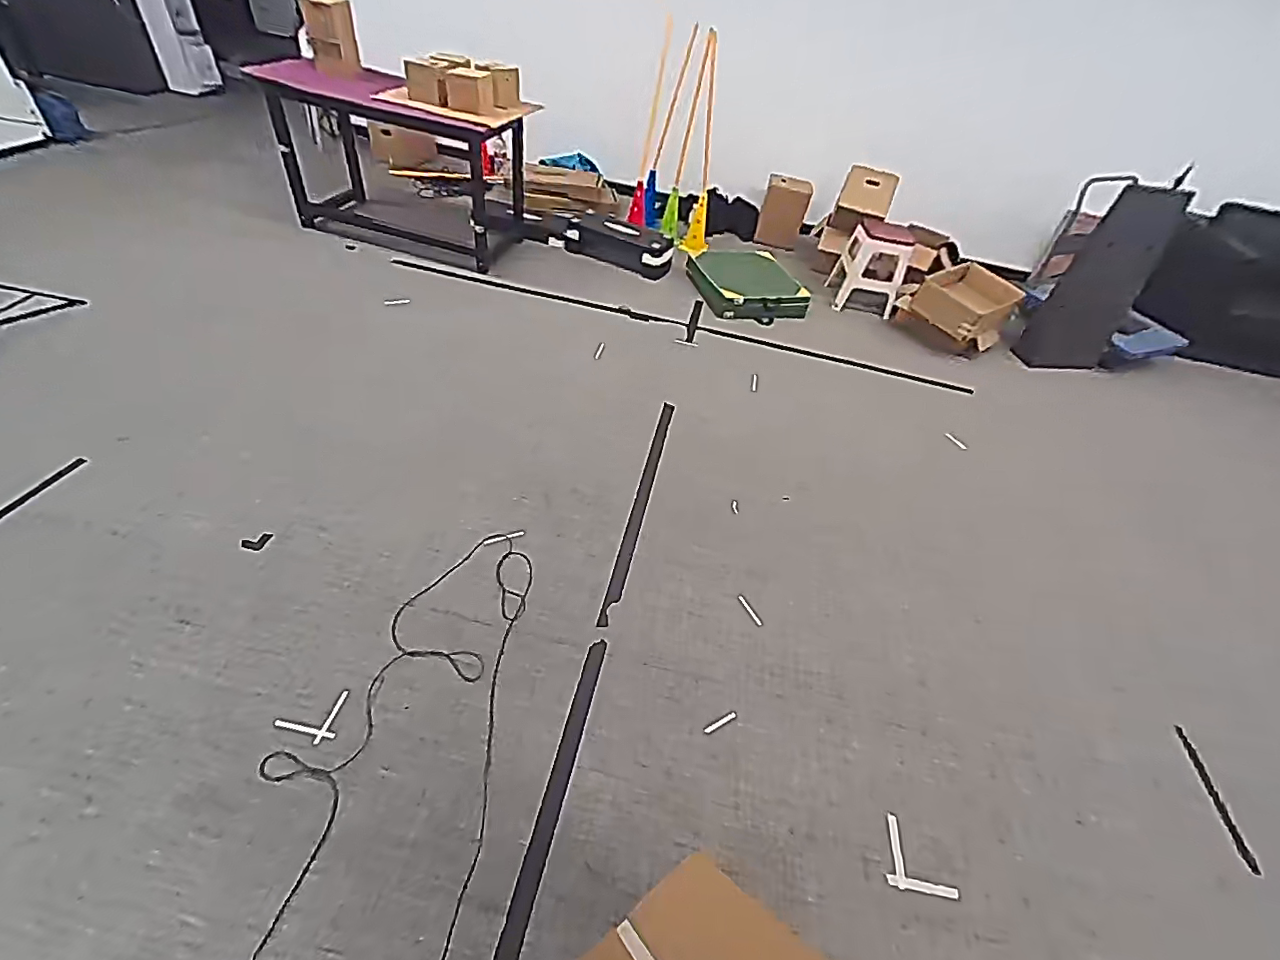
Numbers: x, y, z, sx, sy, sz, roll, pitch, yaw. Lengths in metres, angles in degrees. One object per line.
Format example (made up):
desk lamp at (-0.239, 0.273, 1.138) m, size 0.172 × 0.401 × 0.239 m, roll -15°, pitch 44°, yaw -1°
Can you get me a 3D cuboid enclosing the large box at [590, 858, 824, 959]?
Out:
large box at (0.129, 0.785, 0.662) m, size 0.320 × 0.408 × 0.320 m, roll -30°, pitch 93°, yaw -26°
